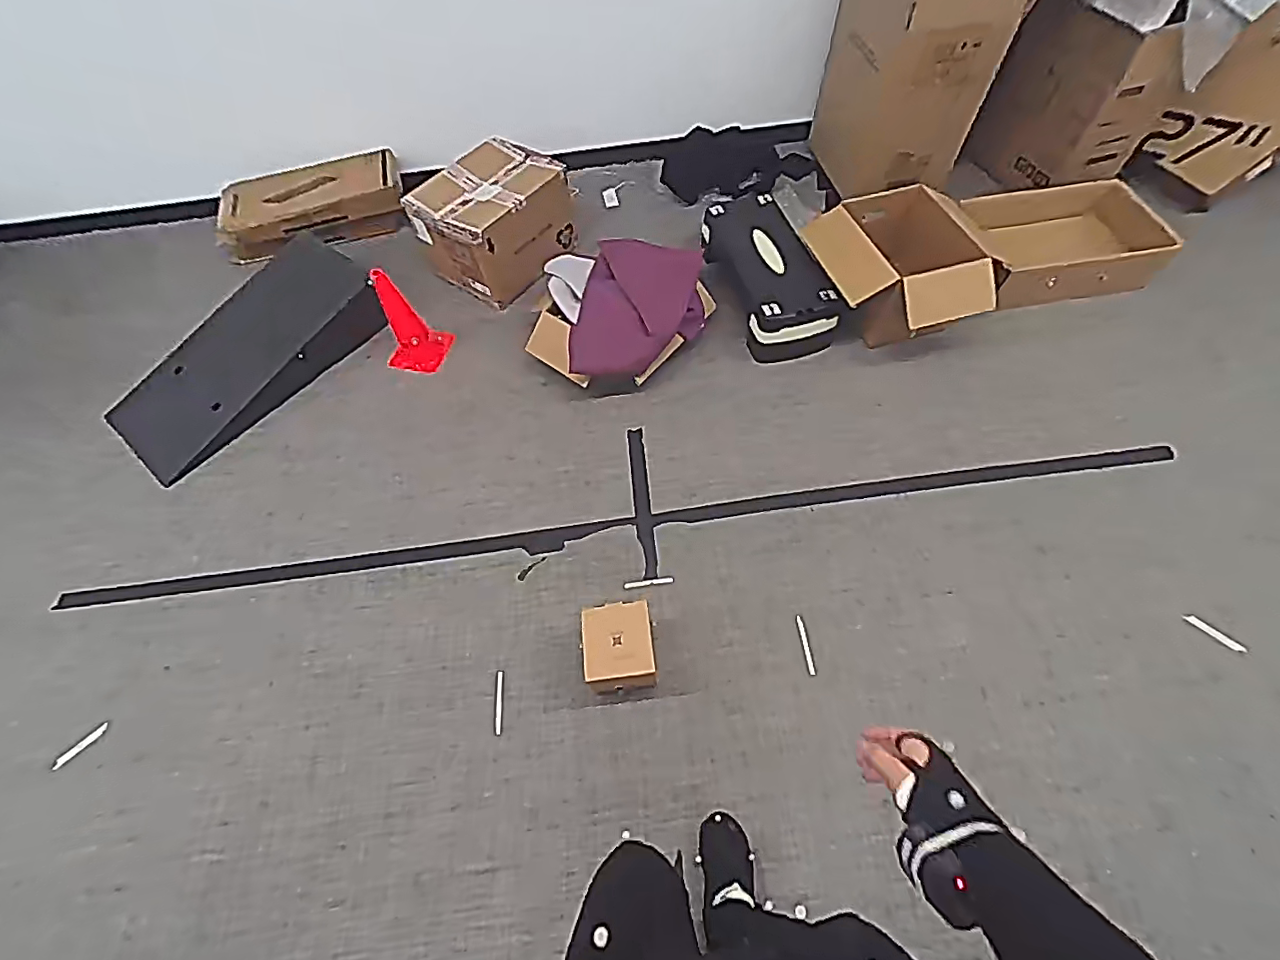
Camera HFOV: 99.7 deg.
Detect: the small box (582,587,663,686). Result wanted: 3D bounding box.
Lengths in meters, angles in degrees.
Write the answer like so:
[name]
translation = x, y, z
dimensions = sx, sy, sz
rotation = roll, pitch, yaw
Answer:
[small box]
translation = -0.040, 0.371, 1.271
dimensions = 0.168, 0.176, 0.179
rotation = -9, 61, 0
